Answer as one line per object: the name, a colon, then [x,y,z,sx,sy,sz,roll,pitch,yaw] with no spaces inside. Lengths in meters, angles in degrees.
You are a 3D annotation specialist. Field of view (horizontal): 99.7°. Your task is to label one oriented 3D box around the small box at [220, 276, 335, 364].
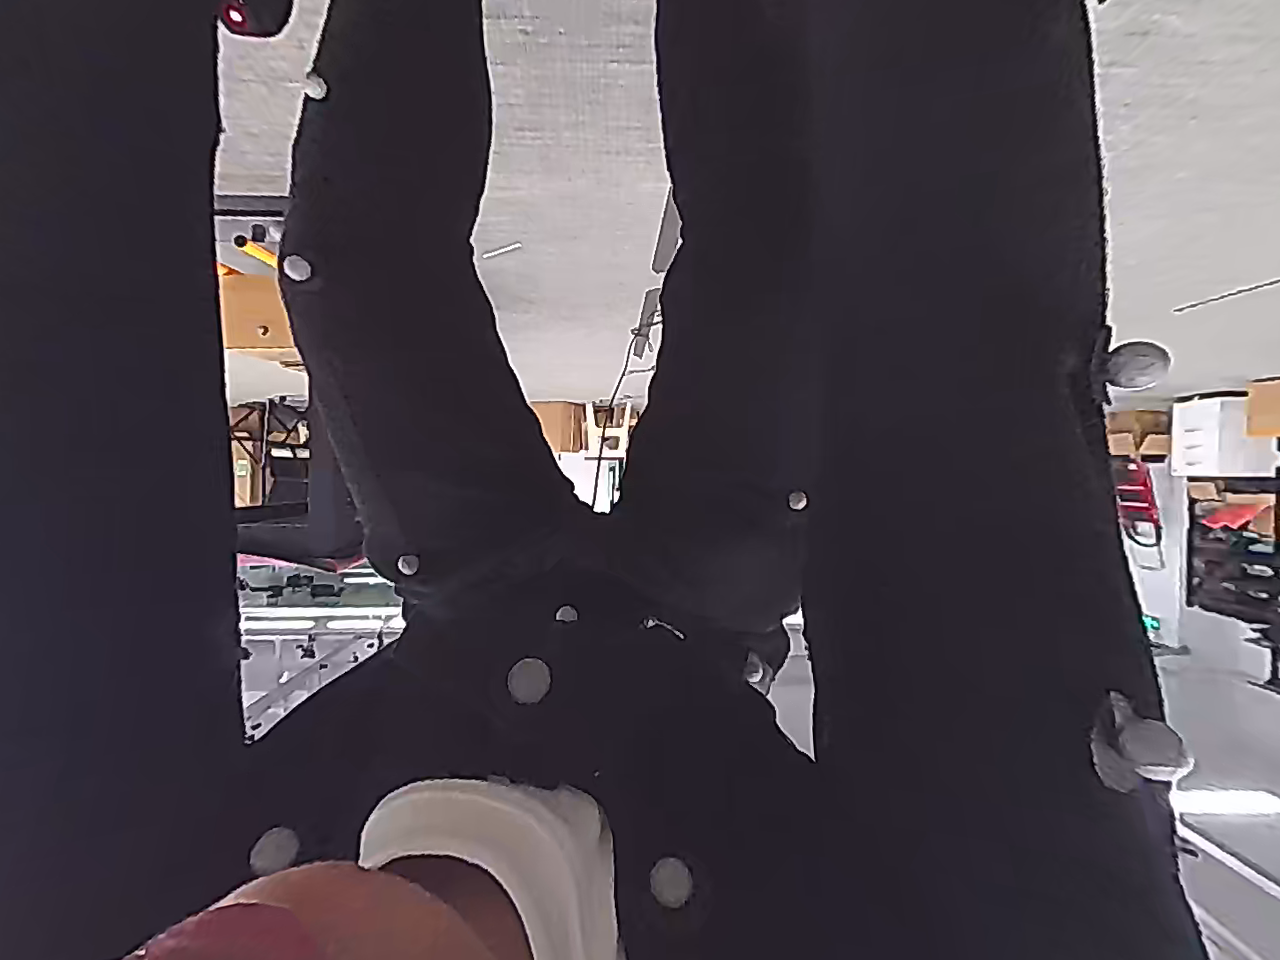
small box: [-0.853,-0.376,1.282,0.179,0.176,0.168,-2,-178,-2]
